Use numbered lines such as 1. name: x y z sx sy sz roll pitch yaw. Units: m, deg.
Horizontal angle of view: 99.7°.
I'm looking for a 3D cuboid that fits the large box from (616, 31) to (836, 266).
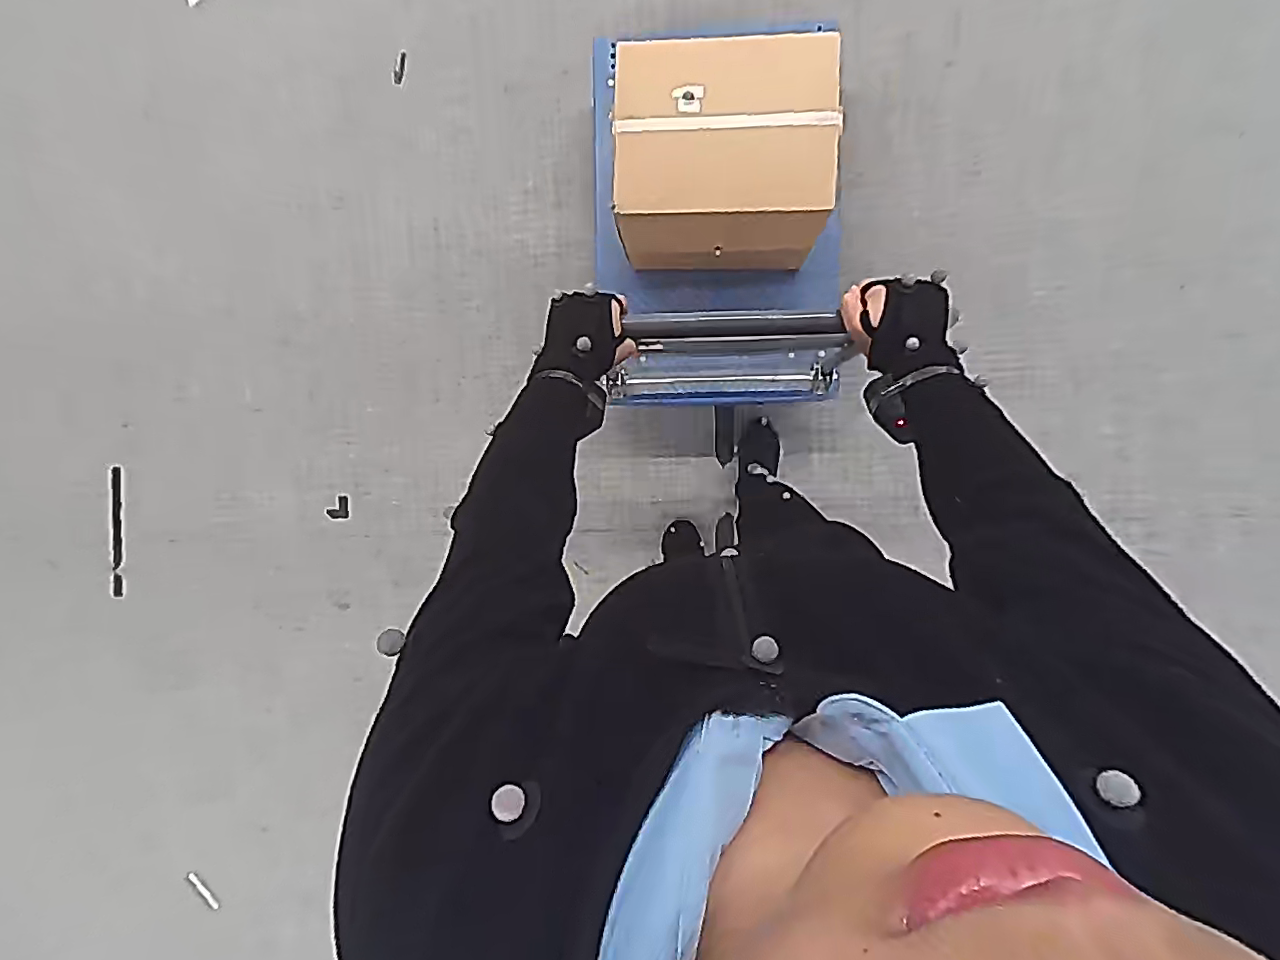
1. large box: 0.171 -0.662 1.142 0.408 0.320 0.320 1 91 6
